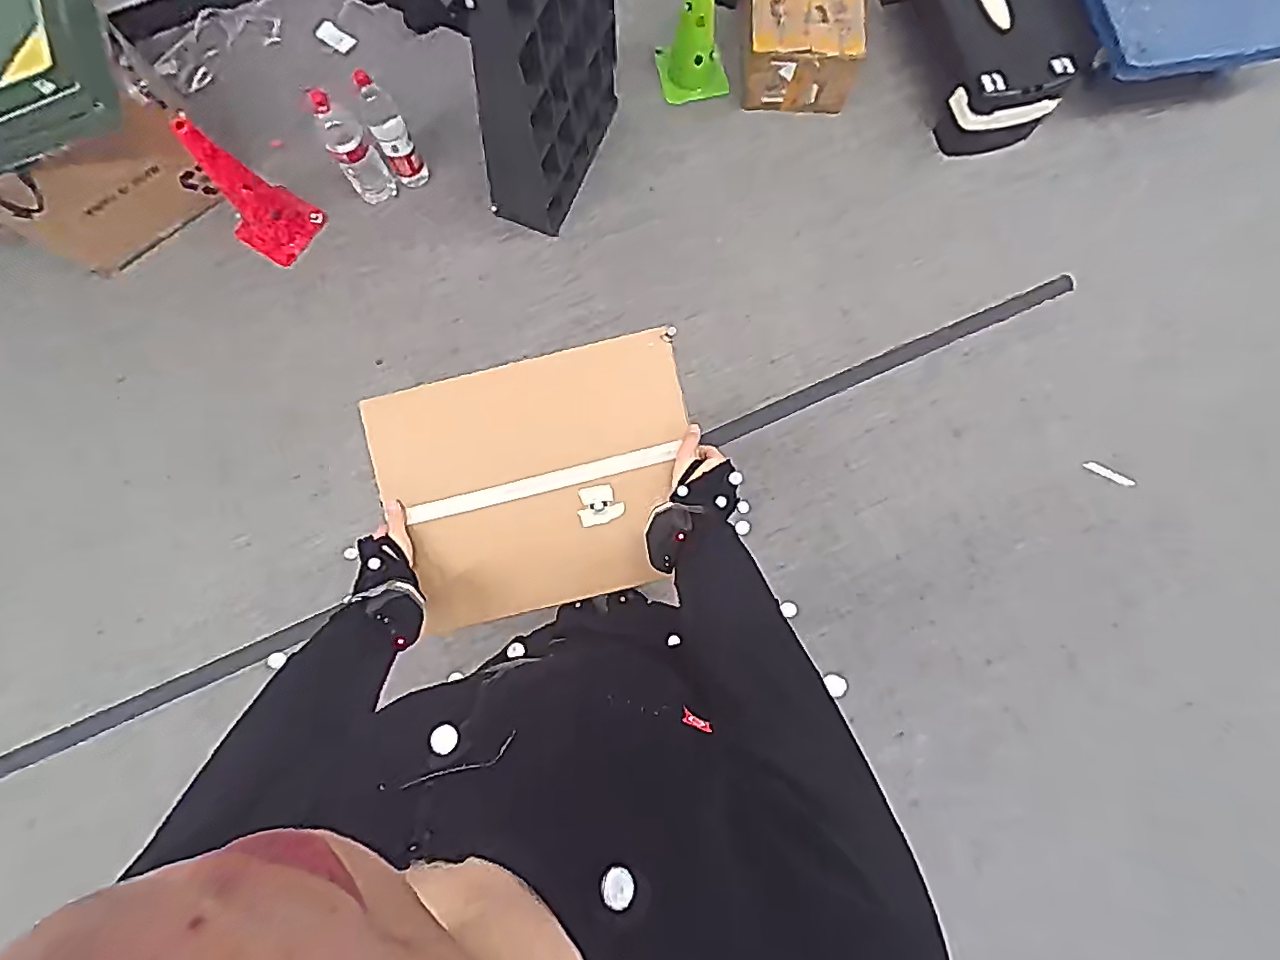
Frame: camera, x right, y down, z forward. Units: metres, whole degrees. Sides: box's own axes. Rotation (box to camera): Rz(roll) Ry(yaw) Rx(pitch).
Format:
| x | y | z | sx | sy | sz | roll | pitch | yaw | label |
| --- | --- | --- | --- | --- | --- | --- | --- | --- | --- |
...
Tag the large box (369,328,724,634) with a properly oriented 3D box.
| x | y | z | sx | sy | sz | roll | pitch | yaw | label |
| --- | --- | --- | --- | --- | --- | --- | --- | --- | --- |
| -0.120 | 0.003 | 0.837 | 0.408 | 0.320 | 0.320 | -14 | 91 | 0 | large box |
